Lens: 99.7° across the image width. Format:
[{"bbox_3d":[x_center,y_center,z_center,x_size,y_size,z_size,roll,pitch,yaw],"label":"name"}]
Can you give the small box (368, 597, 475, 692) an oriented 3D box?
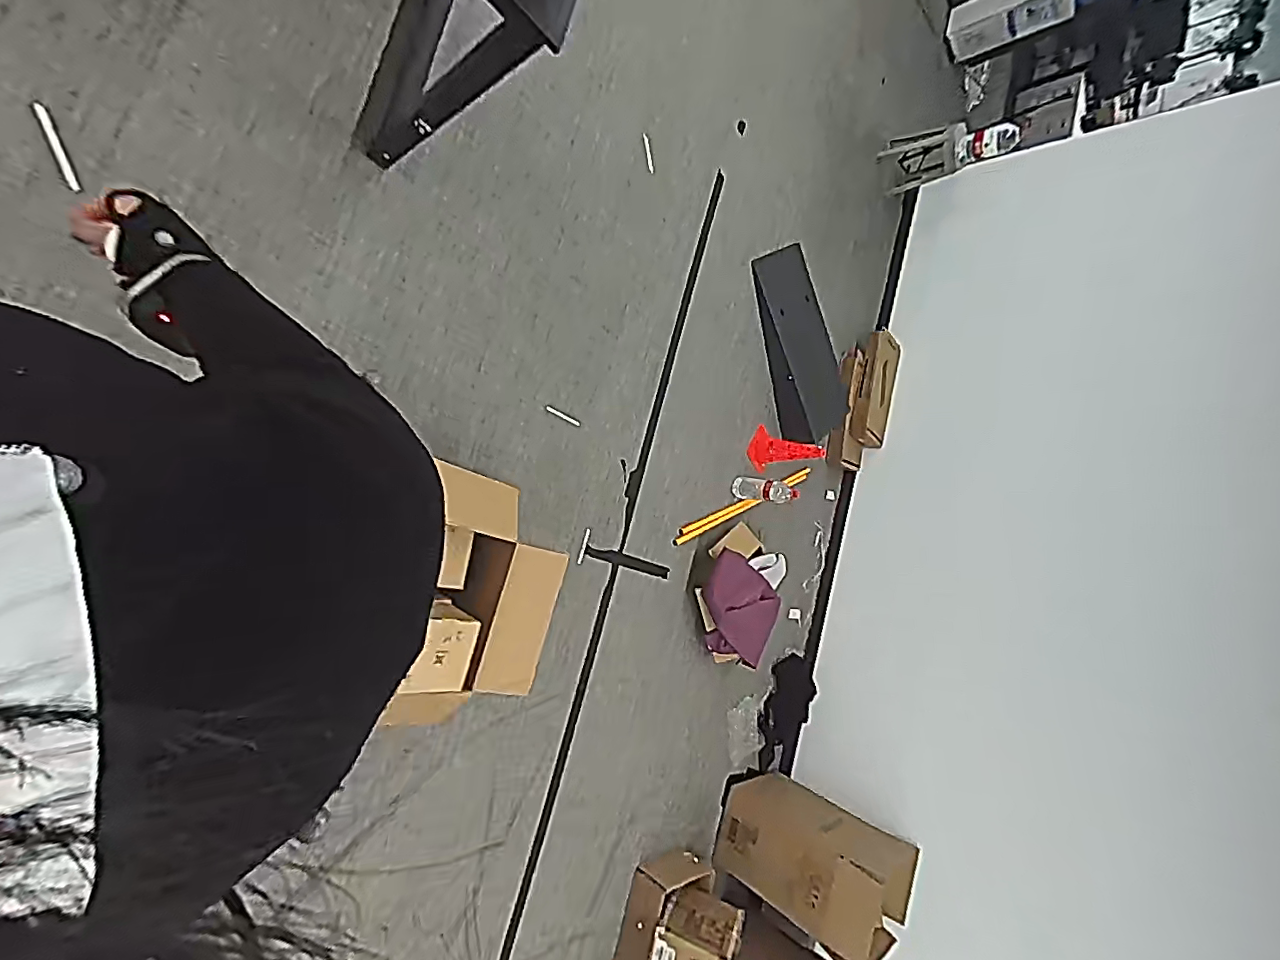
[{"bbox_3d":[-0.540,0.402,1.326,0.168,0.176,0.179,21,82,-47],"label":"small box"}]
